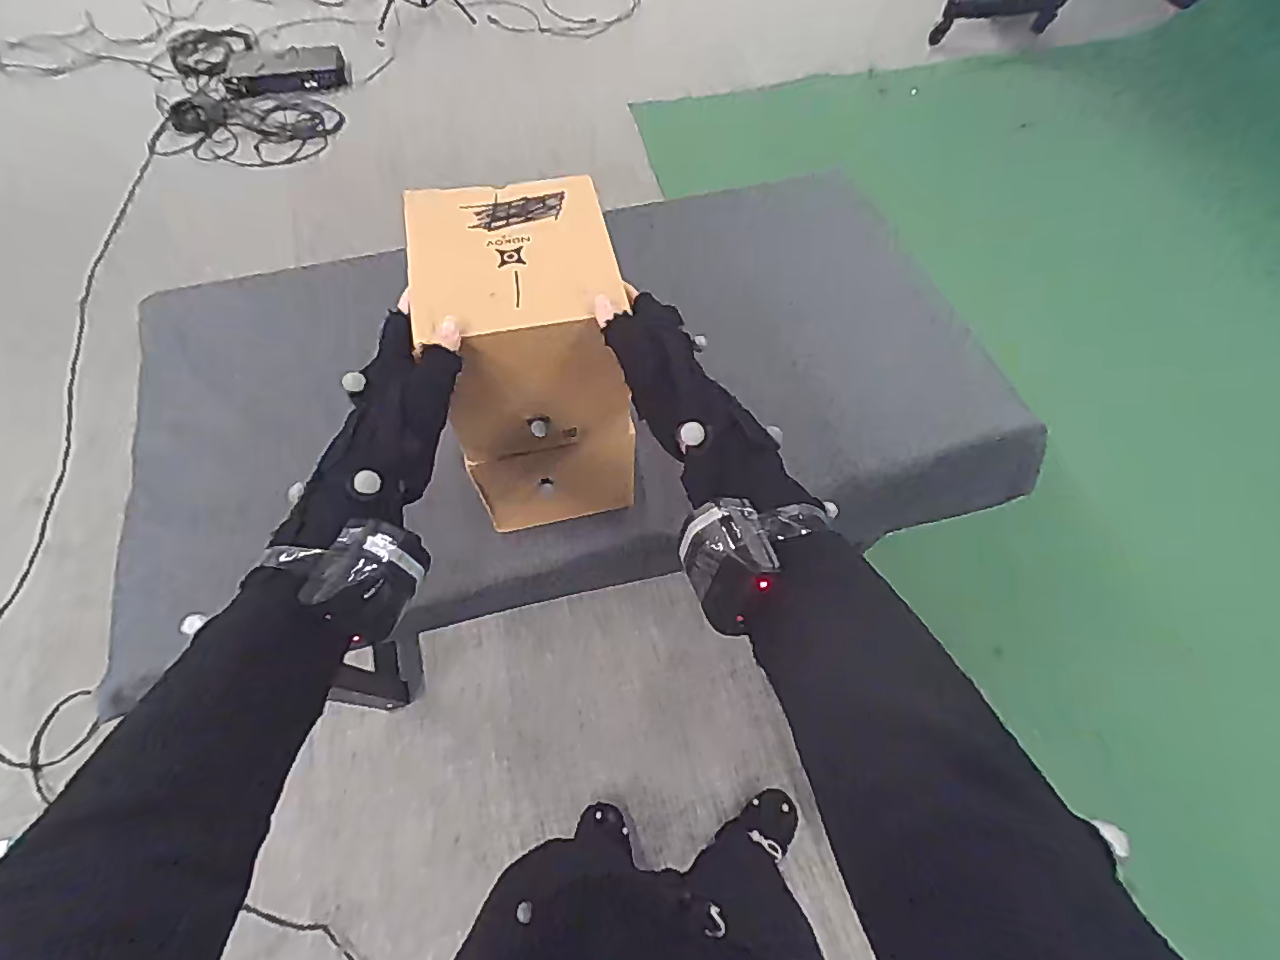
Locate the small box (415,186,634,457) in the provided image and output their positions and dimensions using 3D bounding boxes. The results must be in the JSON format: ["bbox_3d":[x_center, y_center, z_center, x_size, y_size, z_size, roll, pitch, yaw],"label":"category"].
[{"bbox_3d":[-0.104,-0.146,0.516,0.168,0.176,0.179,-9,62,-7],"label":"small box"}]

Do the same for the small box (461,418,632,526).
[{"bbox_3d":[-0.109,-0.060,0.657,0.179,0.176,0.168,-11,62,-7],"label":"small box"}]
